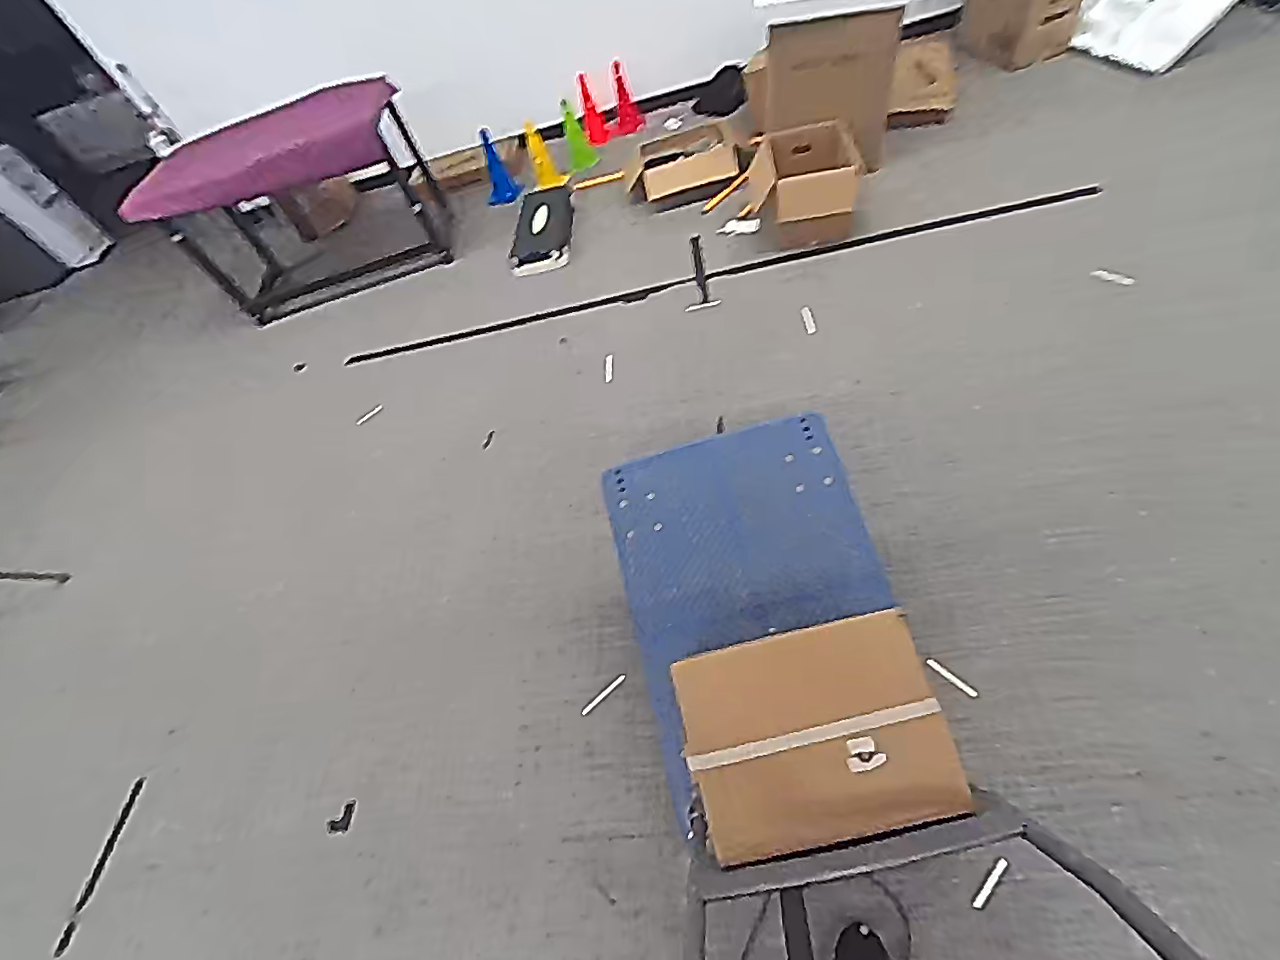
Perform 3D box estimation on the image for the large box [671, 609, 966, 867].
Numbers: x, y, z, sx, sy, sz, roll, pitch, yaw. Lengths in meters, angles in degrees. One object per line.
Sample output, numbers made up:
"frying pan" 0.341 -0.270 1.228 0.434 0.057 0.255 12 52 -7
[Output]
"large box" 0.300 0.462 1.034 0.408 0.320 0.320 -16 72 2
